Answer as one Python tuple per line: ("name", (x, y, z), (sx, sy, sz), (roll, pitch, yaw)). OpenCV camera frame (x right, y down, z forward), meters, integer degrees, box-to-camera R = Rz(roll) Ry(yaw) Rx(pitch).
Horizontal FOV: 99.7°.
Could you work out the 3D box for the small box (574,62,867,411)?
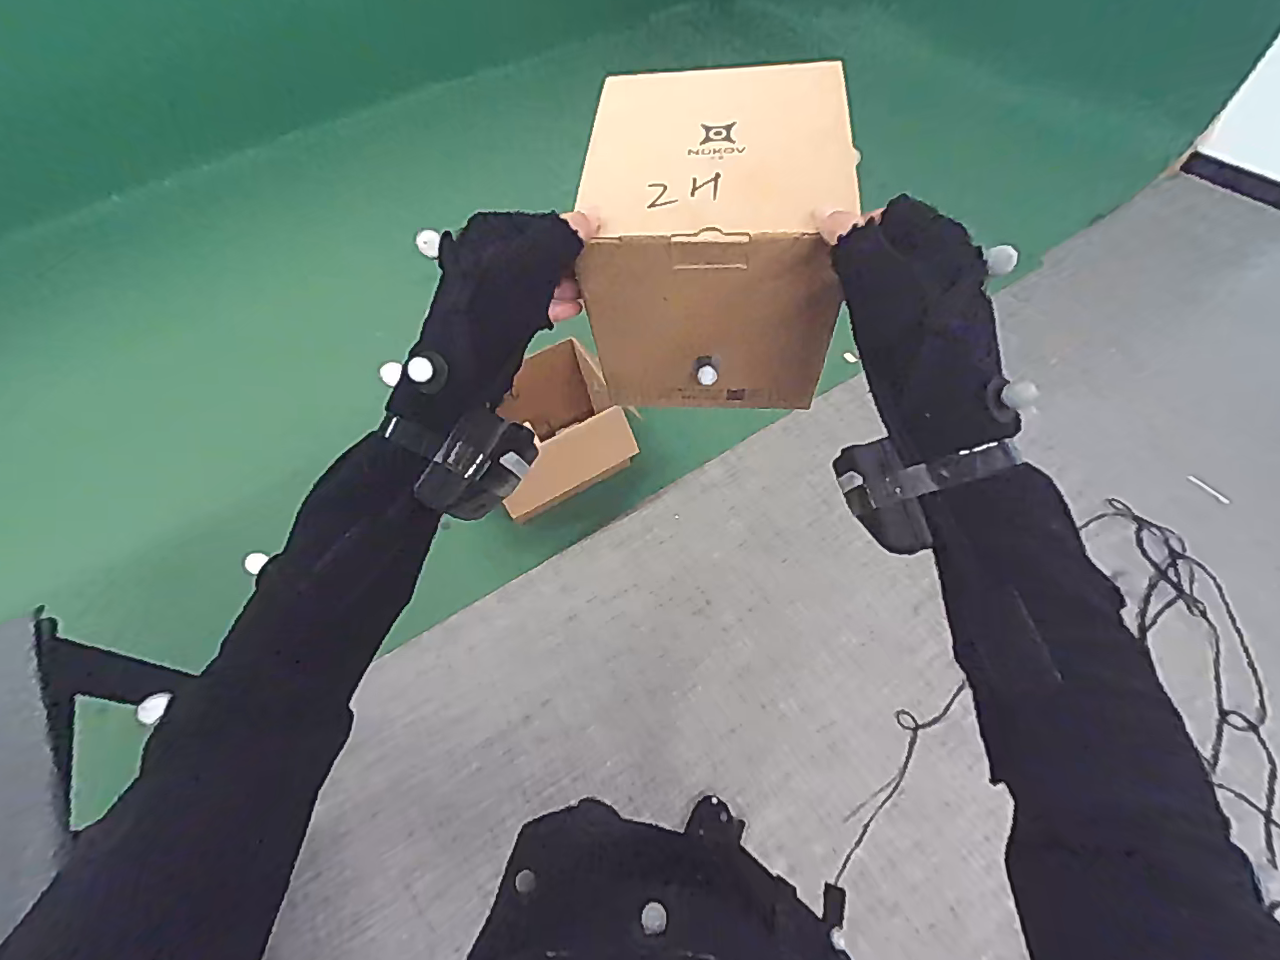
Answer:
("small box", (0.060, -0.174, 0.409), (0.168, 0.176, 0.179), (3, 62, 9))
